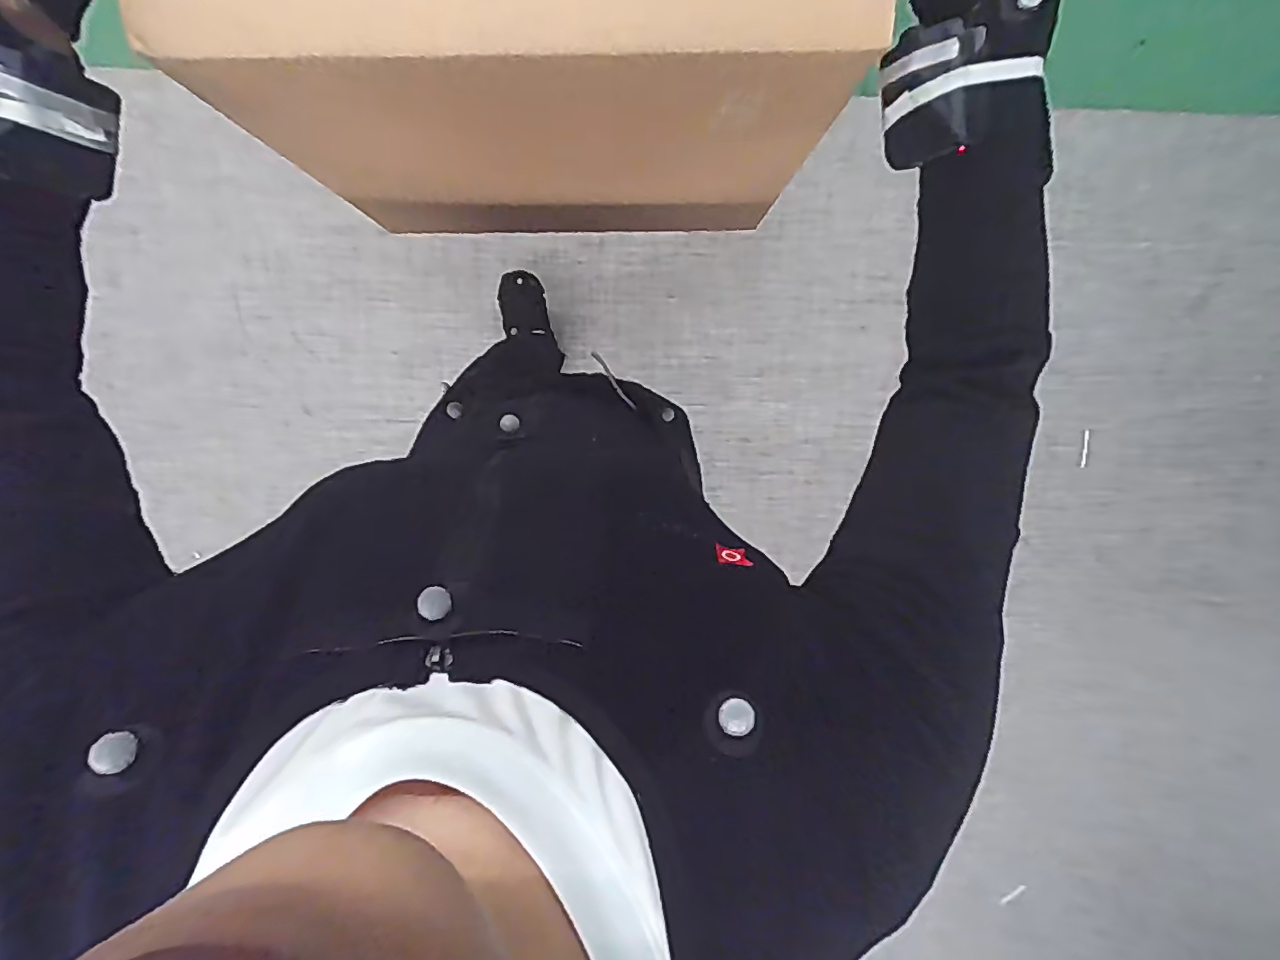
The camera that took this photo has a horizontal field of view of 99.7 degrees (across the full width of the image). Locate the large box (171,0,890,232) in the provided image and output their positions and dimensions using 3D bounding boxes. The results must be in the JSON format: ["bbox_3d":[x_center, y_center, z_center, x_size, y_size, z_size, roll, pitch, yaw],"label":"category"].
[{"bbox_3d":[-0.067,-0.410,0.429,0.408,0.320,0.320,-2,99,-1],"label":"large box"}]
